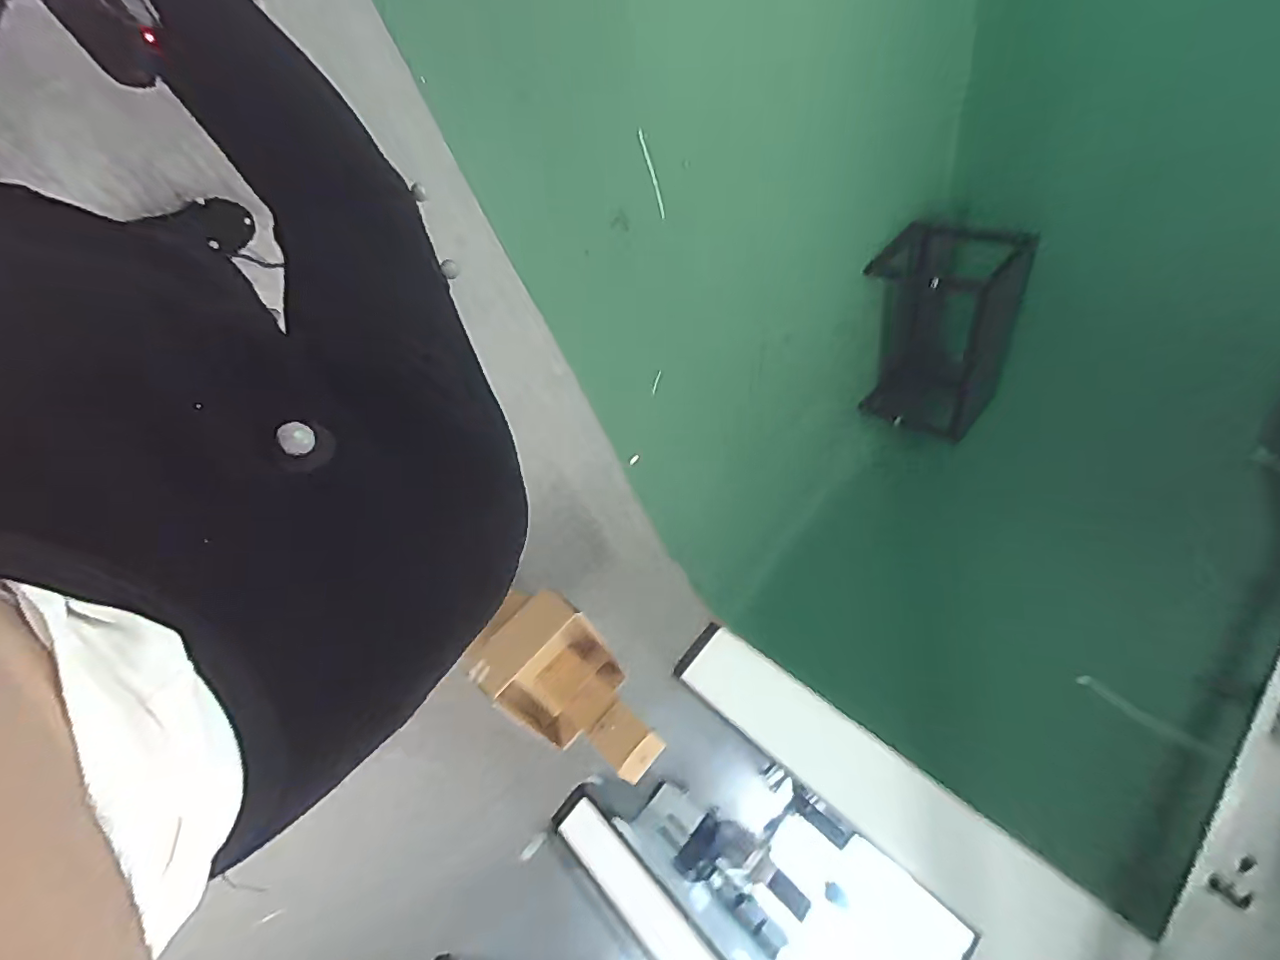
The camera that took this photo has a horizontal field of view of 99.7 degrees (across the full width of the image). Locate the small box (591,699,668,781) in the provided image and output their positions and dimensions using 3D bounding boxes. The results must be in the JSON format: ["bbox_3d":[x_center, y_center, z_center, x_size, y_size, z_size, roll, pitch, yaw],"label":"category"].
[{"bbox_3d":[-0.036,0.886,1.856,0.168,0.176,0.179,-45,137,-17],"label":"small box"}]

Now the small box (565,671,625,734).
[{"bbox_3d":[-0.141,0.831,1.971,0.168,0.176,0.179,-43,137,-18],"label":"small box"}]
